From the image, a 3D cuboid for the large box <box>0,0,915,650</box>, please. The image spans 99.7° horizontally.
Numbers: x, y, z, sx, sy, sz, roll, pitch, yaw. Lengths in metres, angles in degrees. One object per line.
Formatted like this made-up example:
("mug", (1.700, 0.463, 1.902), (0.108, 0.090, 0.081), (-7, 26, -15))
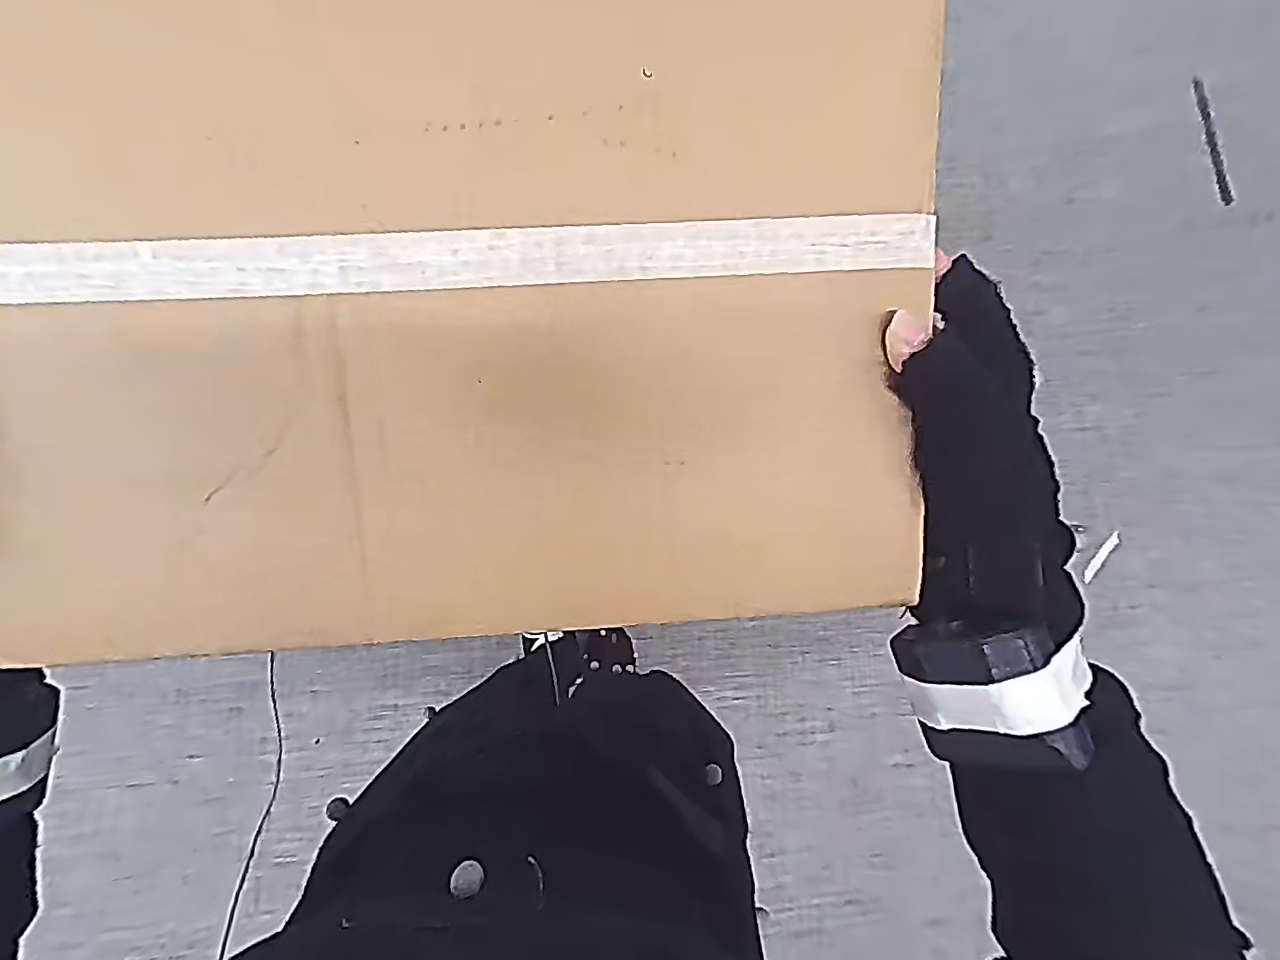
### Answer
("large box", (-0.091, -0.112, 0.370), (0.408, 0.320, 0.320), (-3, 99, -4))
